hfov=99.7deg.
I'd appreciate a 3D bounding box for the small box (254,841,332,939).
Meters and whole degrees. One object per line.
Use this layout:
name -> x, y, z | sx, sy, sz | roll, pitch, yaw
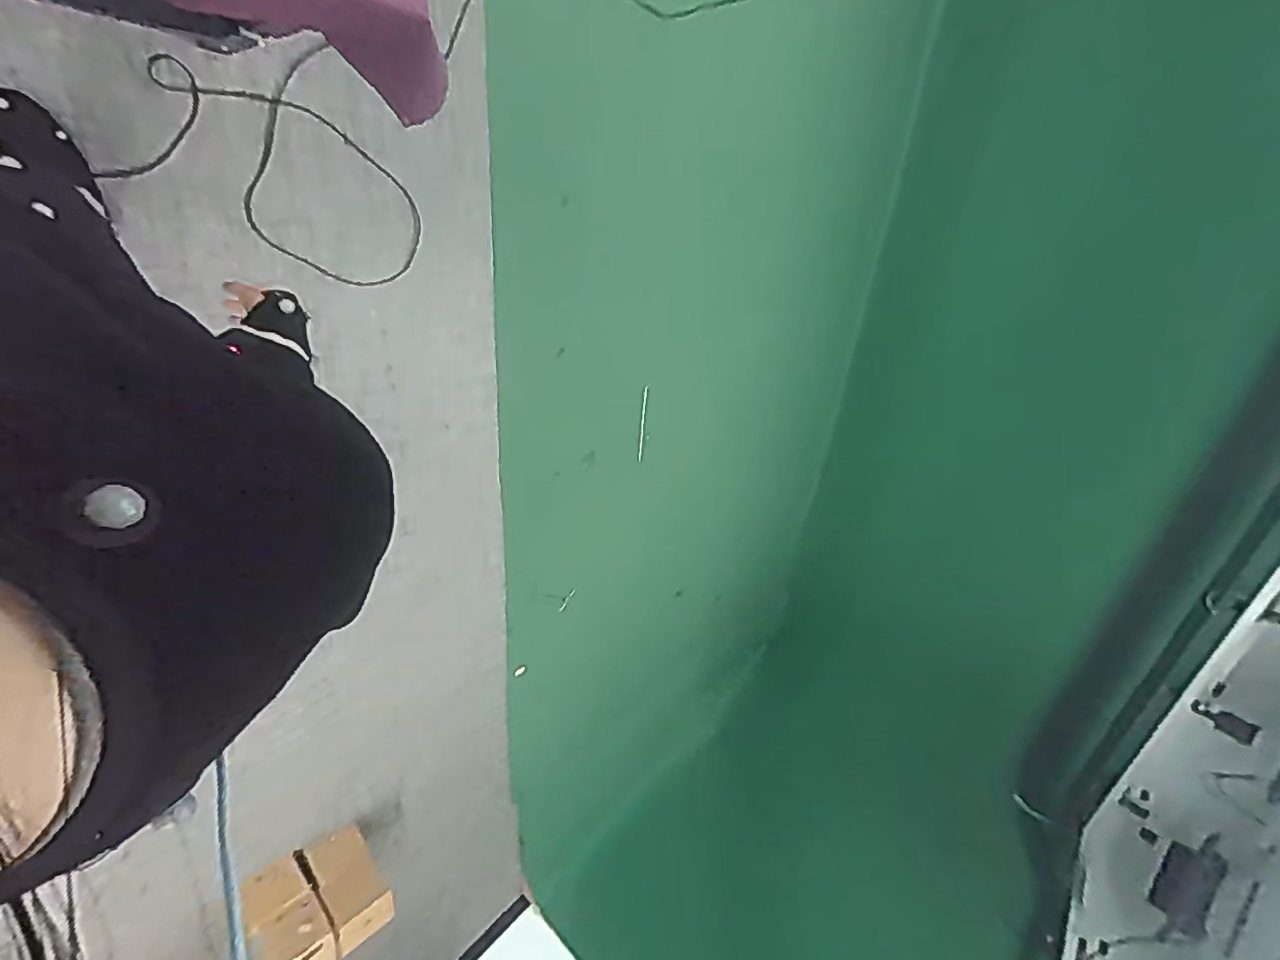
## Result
small box -> -1.188, 1.394, 1.851 | 0.168, 0.176, 0.179 | -23, 127, -43
